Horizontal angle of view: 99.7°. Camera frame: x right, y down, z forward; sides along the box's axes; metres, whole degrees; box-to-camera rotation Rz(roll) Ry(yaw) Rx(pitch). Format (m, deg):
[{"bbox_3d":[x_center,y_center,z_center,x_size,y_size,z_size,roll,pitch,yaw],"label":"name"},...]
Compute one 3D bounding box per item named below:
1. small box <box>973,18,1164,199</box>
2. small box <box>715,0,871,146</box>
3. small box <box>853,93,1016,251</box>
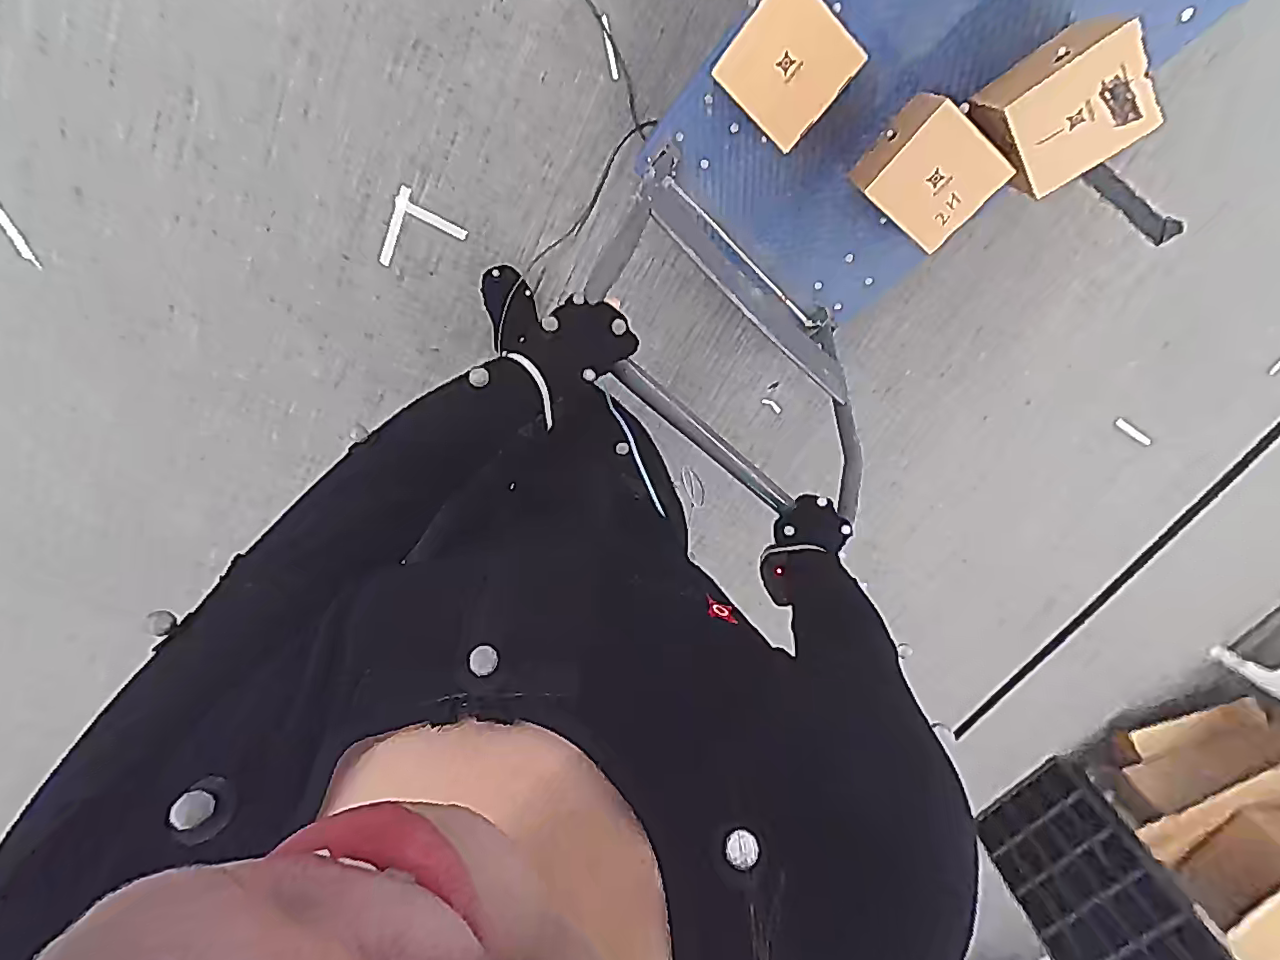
[{"bbox_3d":[0.686,-0.604,0.882,0.179,0.176,0.168,-28,119,29],"label":"small box"},{"bbox_3d":[0.239,-0.692,0.886,0.179,0.176,0.168,34,126,-20],"label":"small box"},{"bbox_3d":[0.506,-0.548,0.958,0.179,0.176,0.168,33,127,-17],"label":"small box"}]
